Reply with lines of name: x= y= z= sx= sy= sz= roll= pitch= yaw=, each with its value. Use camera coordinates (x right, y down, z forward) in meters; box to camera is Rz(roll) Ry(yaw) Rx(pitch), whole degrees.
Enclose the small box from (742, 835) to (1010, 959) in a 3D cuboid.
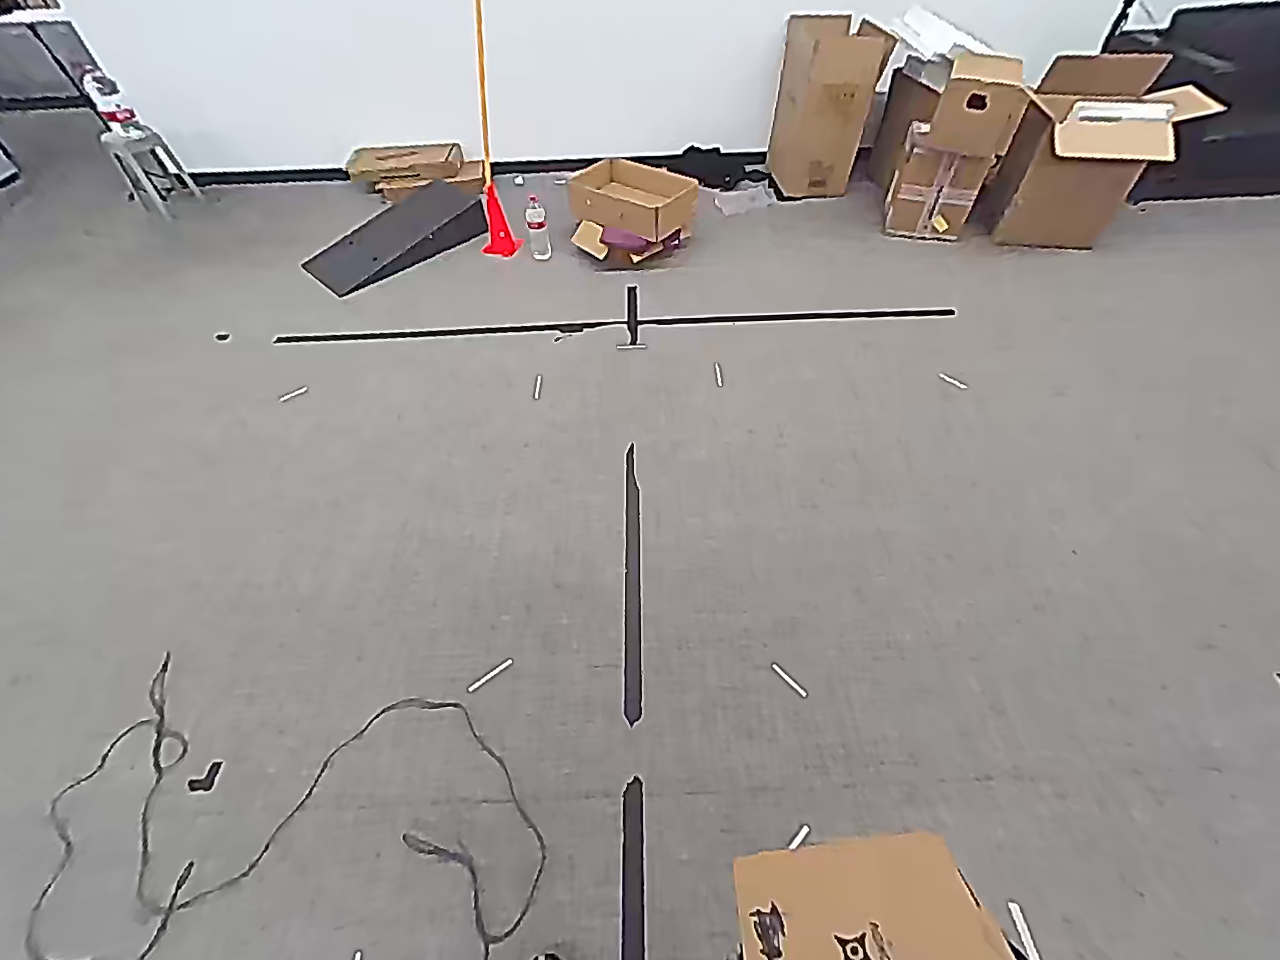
small box: x=0.183 y=0.412 z=0.406 sx=0.179 sy=0.176 sz=0.168 roll=-11 pitch=13 yaw=6
